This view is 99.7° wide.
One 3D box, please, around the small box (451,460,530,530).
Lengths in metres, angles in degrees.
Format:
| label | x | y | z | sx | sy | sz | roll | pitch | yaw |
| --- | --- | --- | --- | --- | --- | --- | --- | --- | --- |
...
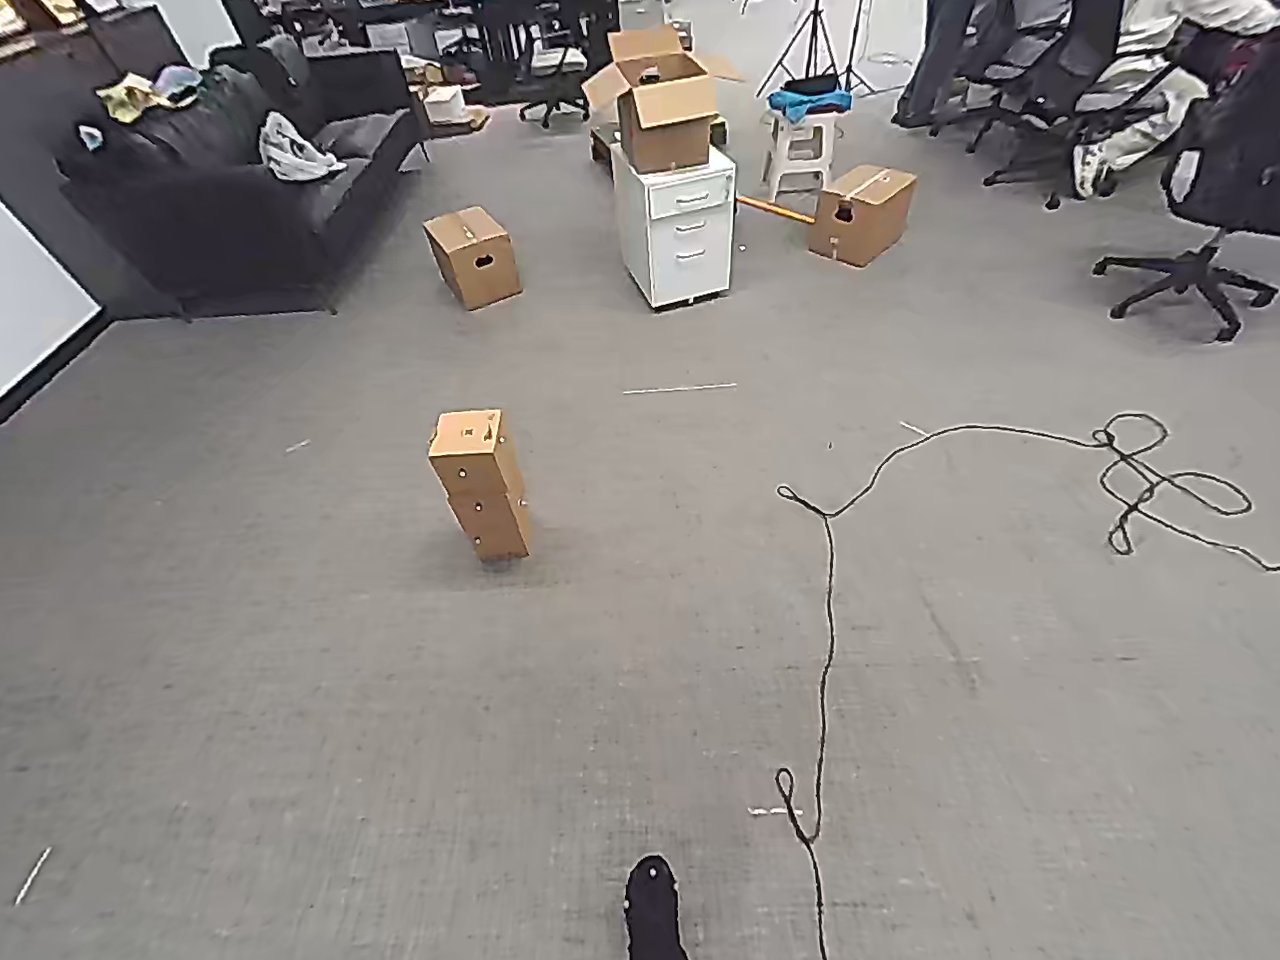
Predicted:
| label | x | y | z | sx | sy | sz | roll | pitch | yaw |
| --- | --- | --- | --- | --- | --- | --- | --- | --- | --- |
| small box | -0.445 | 0.040 | 1.636 | 0.179 | 0.176 | 0.168 | -3 | 50 | 1 |

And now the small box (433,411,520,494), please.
| label | x | y | z | sx | sy | sz | roll | pitch | yaw |
| --- | --- | --- | --- | --- | --- | --- | --- | --- | --- |
| small box | -0.451 | -0.073 | 1.517 | 0.179 | 0.176 | 0.168 | -4 | 50 | 3 |
